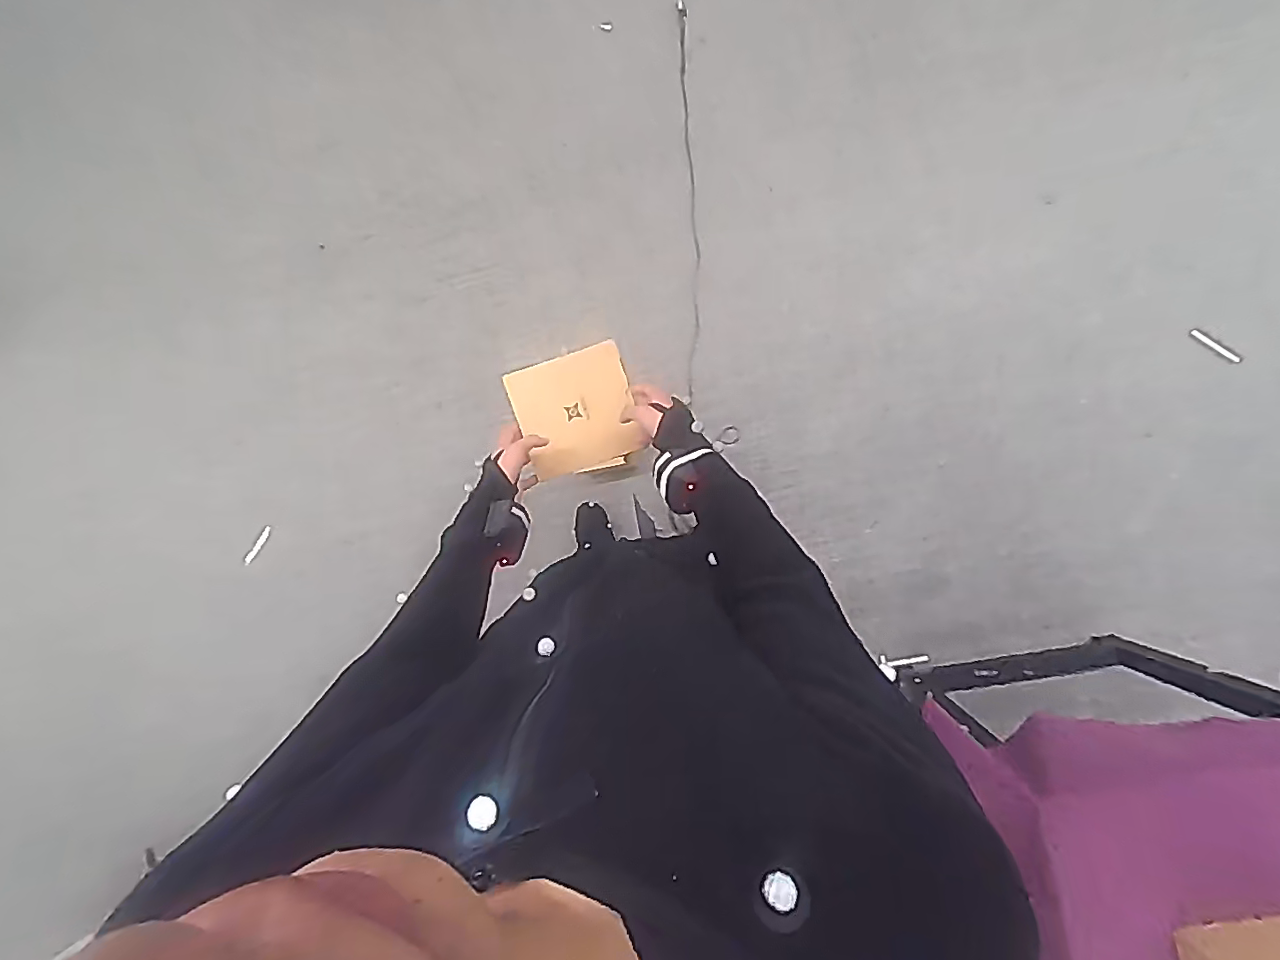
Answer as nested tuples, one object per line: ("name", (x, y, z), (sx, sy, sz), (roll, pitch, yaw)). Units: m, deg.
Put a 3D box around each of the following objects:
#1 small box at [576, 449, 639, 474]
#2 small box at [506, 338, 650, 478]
("small box", (-0.106, -0.120, 1.585), (0.168, 0.176, 0.179), (-10, 86, 8))
("small box", (-0.089, -0.110, 0.866), (0.179, 0.176, 0.168), (-19, 95, 1))
